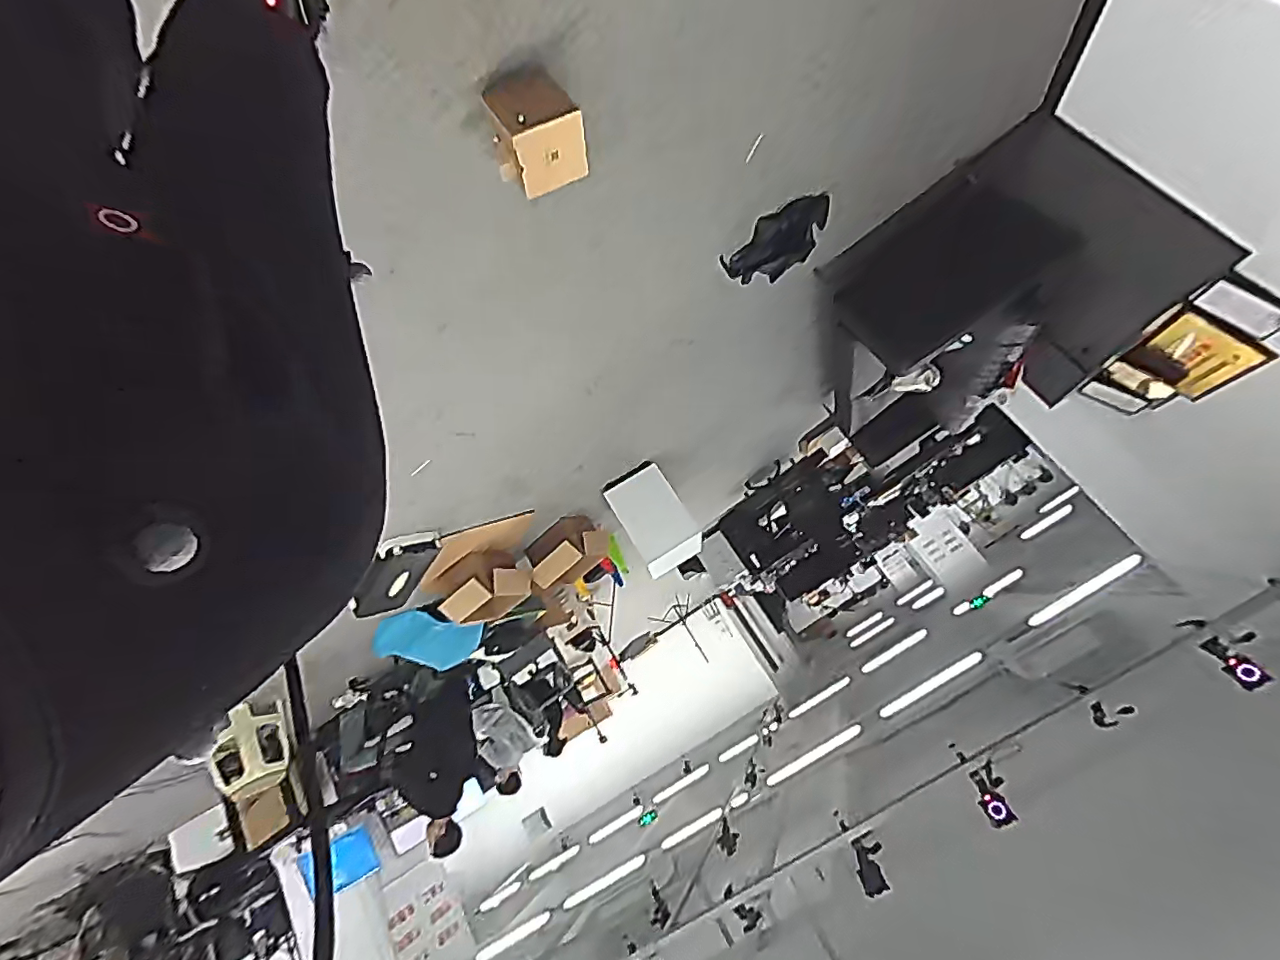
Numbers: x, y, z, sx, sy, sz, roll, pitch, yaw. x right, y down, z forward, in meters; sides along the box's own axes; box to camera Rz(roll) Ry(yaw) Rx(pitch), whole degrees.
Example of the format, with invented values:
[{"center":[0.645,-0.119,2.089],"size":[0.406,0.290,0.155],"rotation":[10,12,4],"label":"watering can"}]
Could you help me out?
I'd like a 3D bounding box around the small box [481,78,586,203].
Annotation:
[{"center":[-0.250,-0.815,1.293],"size":[0.179,0.176,0.168],"rotation":[-29,160,-11],"label":"small box"}]
